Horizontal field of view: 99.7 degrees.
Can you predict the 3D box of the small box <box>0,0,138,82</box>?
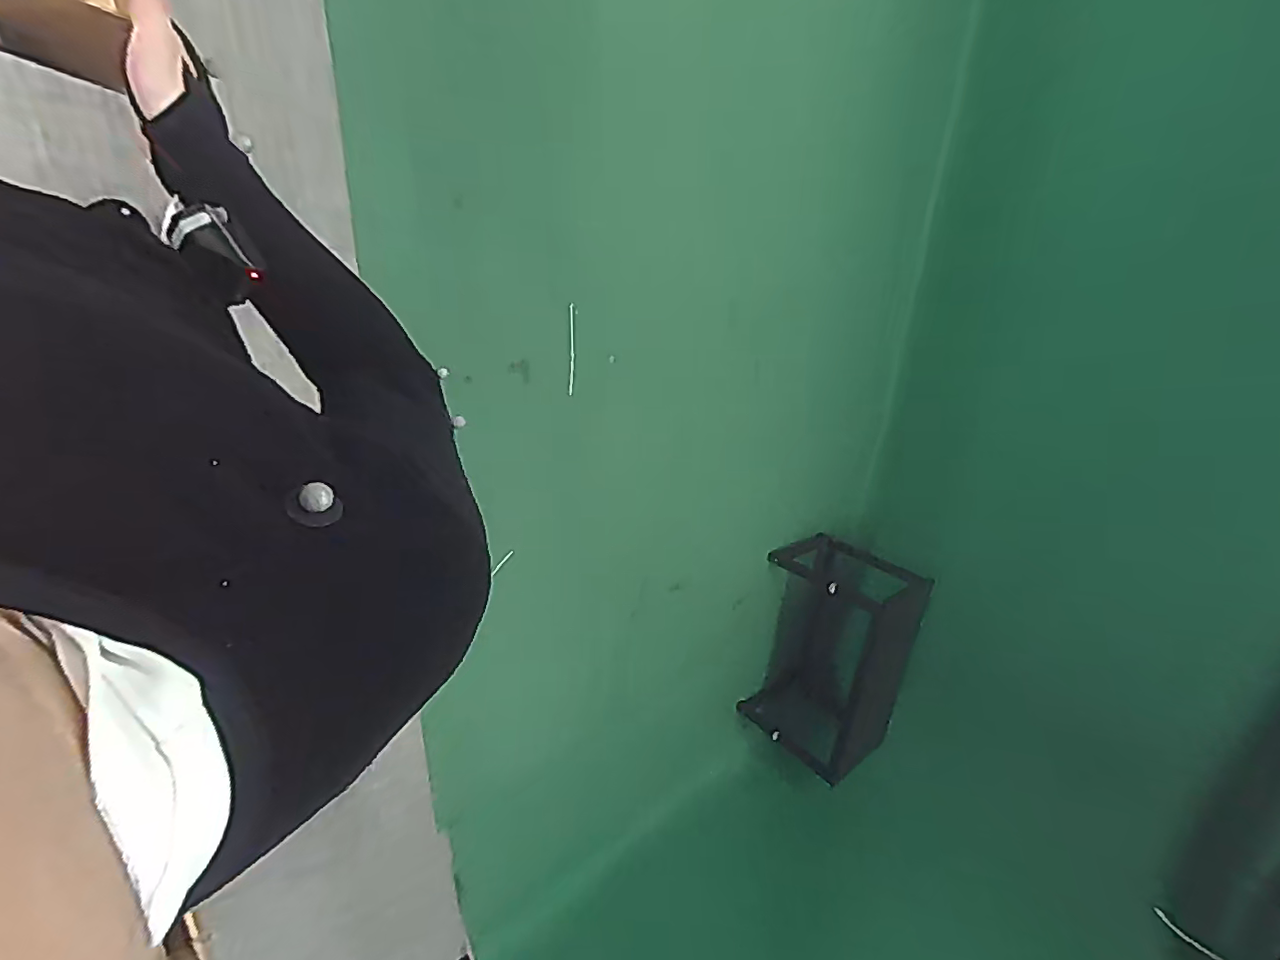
[{"bbox_3d":[-0.471,-0.438,0.383,0.168,0.176,0.179,0,100,-44],"label":"small box"}]
